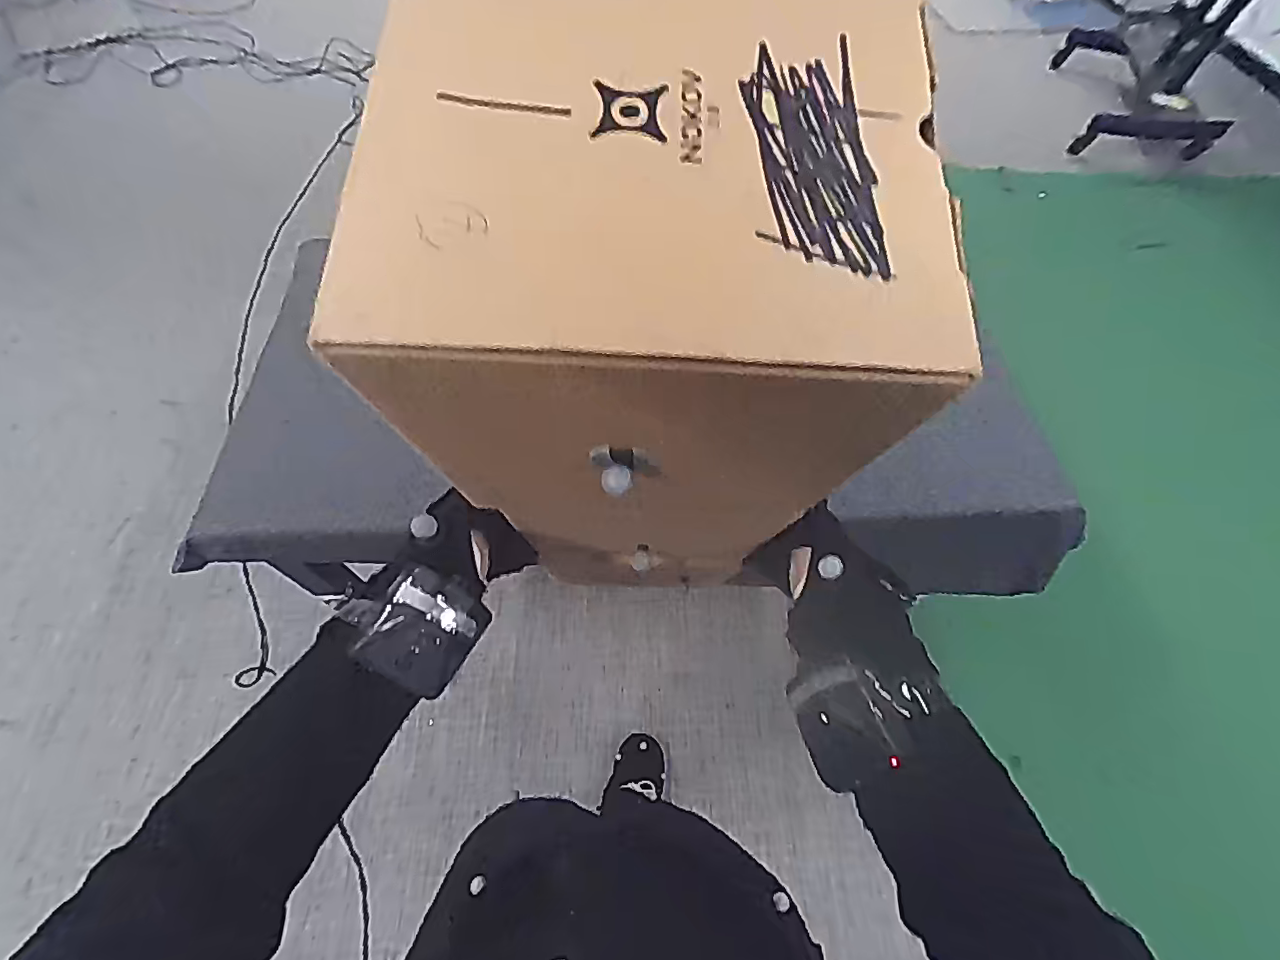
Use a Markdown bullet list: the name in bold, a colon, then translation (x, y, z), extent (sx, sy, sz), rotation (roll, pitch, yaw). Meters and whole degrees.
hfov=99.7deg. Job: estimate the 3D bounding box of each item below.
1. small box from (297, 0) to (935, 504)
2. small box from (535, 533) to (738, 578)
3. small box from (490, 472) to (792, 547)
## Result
- **small box**: translation (-0.002, -0.092, 0.245), extent (0.179, 0.176, 0.168), rotation (5, 72, -1)
- **small box**: translation (-0.004, 0.008, 0.560), extent (0.179, 0.176, 0.168), rotation (0, 73, 0)
- **small box**: translation (0.000, -0.047, 0.405), extent (0.179, 0.176, 0.168), rotation (2, 72, -2)
